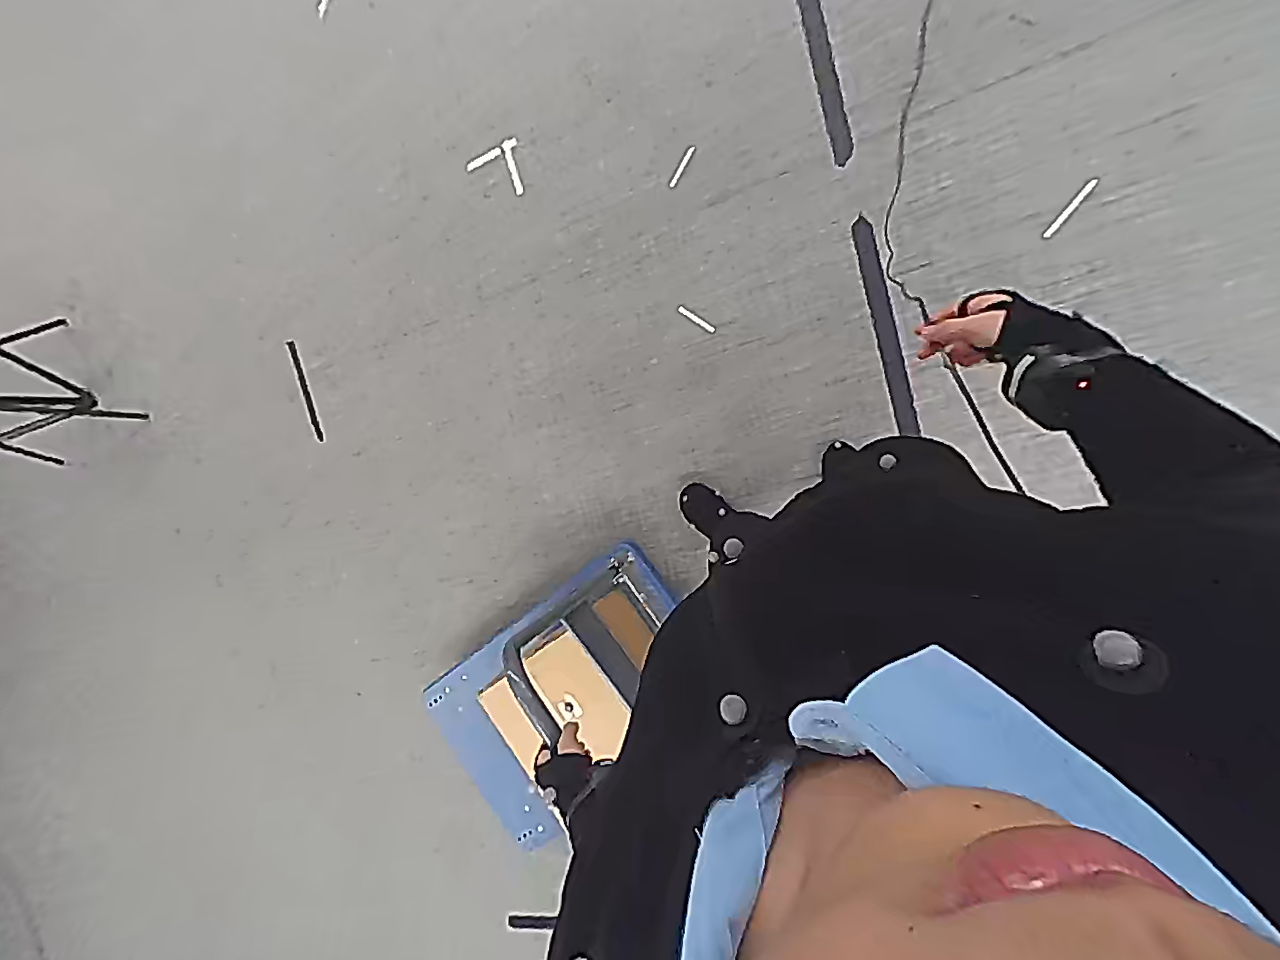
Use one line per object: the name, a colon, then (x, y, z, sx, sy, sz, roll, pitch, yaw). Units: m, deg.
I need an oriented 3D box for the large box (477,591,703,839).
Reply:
large box: (-0.106, 0.552, 1.331, 0.320, 0.320, 0.408, -38, 84, 17)
